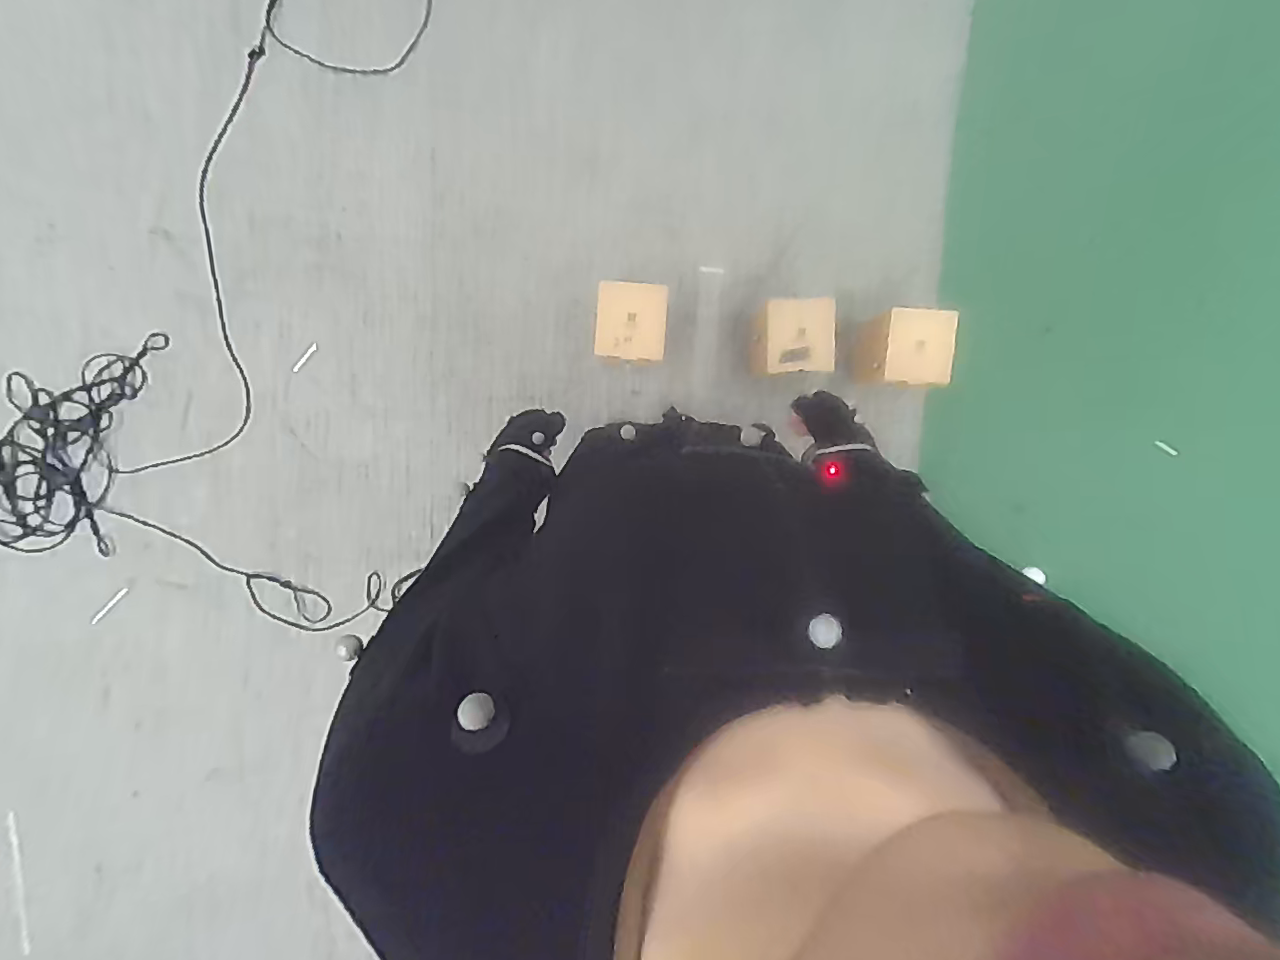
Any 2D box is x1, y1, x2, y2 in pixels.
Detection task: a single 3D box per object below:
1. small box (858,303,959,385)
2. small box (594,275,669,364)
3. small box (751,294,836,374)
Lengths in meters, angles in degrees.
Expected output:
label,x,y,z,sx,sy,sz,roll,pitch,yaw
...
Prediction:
label,x,y,z,sx,sy,sz,roll,pitch,yaw
small box,0.671,-0.338,1.370,0.168,0.176,0.179,3,97,-1
small box,-0.022,-0.391,1.339,0.168,0.176,0.179,4,97,-1
small box,0.379,-0.359,1.357,0.168,0.176,0.179,-1,96,-2
